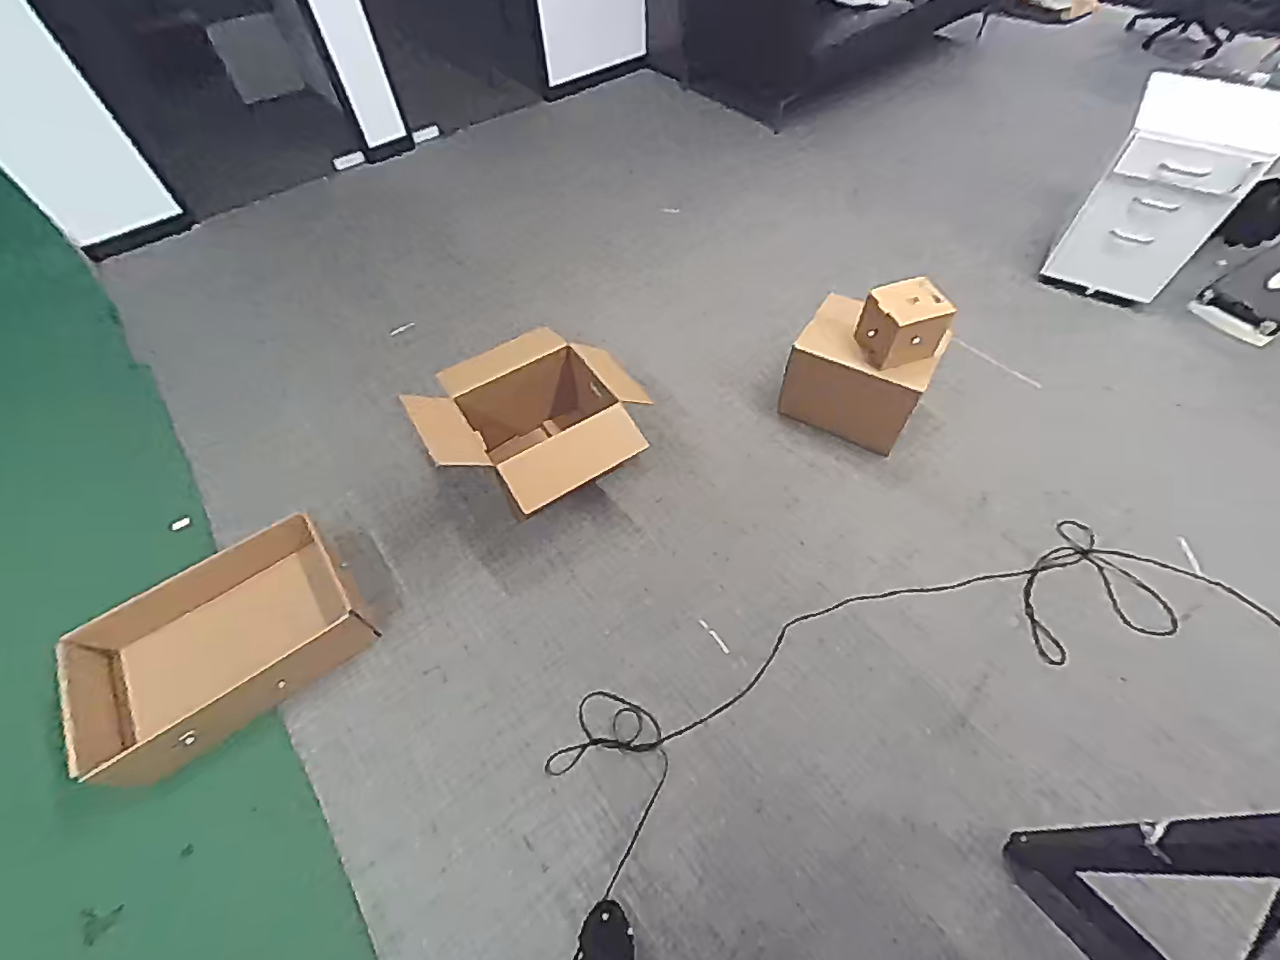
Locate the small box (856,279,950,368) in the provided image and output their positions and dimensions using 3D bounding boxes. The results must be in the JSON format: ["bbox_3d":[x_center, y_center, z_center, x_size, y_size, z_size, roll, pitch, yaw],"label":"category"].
[{"bbox_3d":[0.757,-0.453,1.587,0.179,0.176,0.168,-16,57,-7],"label":"small box"}]
